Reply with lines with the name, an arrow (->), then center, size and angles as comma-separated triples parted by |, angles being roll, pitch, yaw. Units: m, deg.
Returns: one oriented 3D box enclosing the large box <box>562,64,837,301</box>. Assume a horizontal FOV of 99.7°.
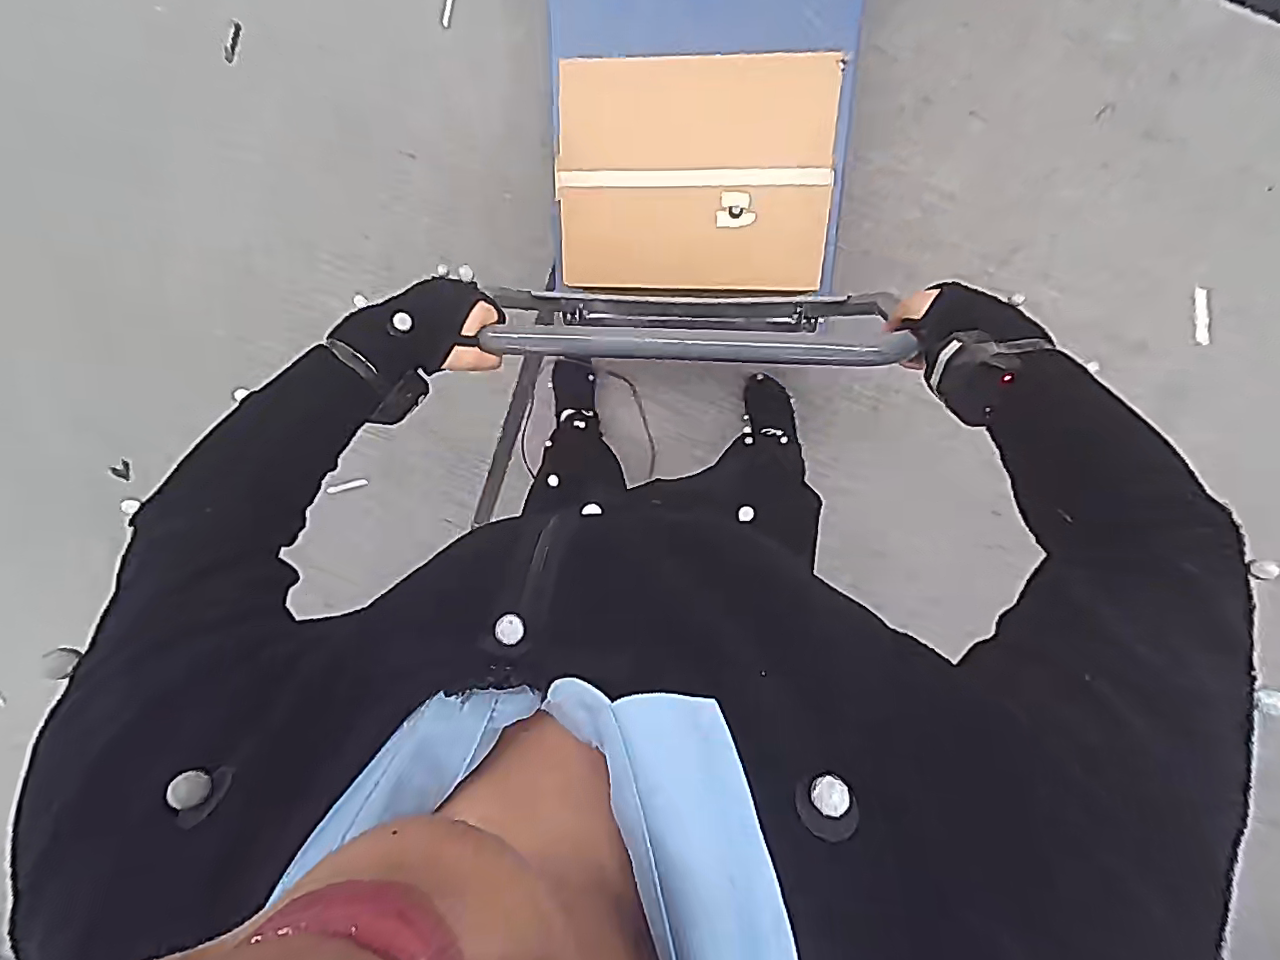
large box -> 0.091, -0.489, 0.961 | 0.408, 0.320, 0.320 | 3, 107, 5
